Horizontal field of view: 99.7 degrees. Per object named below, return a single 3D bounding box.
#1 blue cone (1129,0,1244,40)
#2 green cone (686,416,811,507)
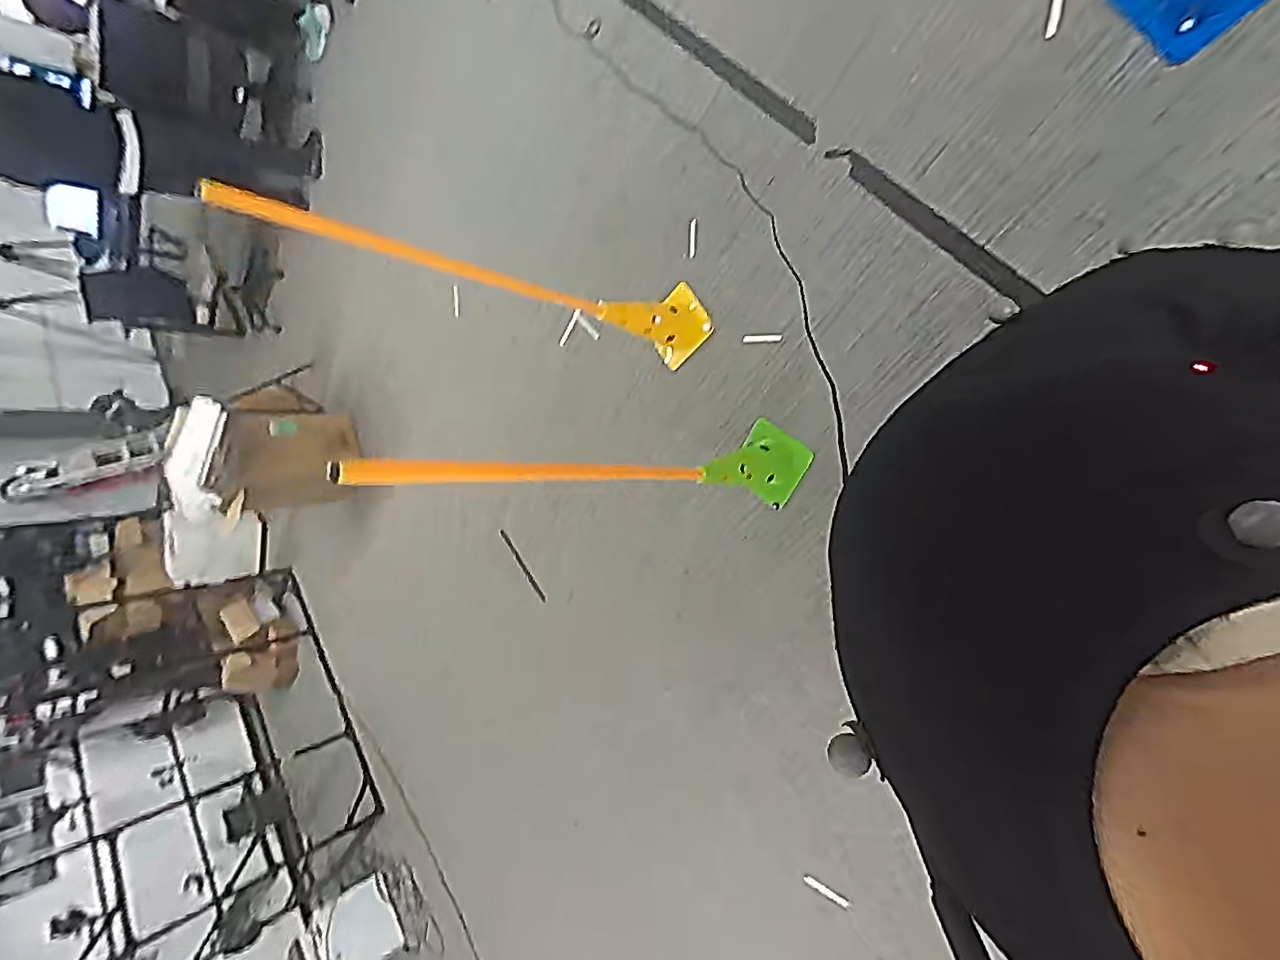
[{"bbox_3d":[0.848,-0.858,0.781,0.193,0.380,0.192,-35,72,38],"label":"blue cone"},{"bbox_3d":[0.245,-0.040,1.384,0.202,0.368,0.200,42,120,31],"label":"green cone"}]
